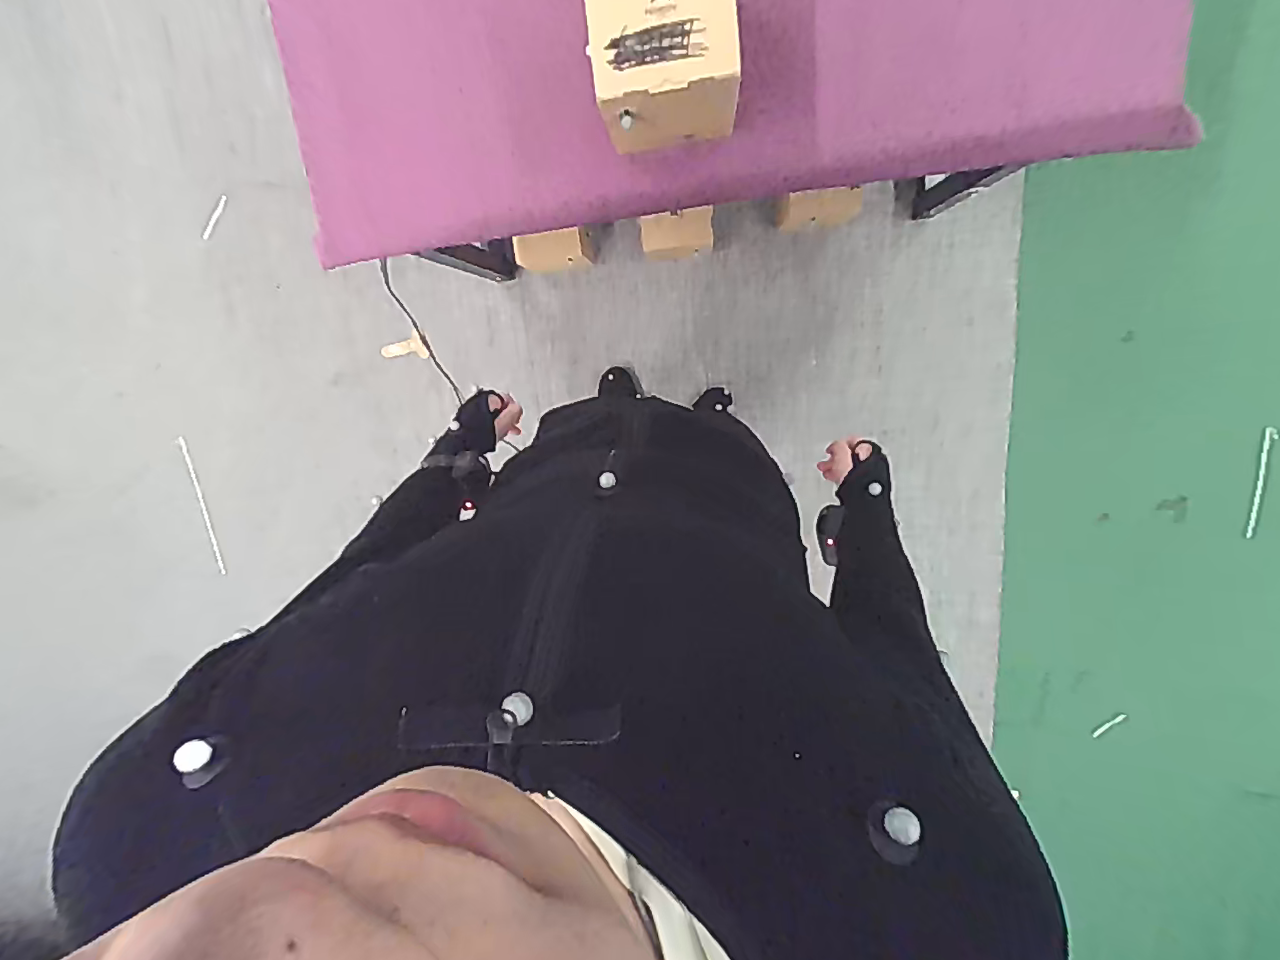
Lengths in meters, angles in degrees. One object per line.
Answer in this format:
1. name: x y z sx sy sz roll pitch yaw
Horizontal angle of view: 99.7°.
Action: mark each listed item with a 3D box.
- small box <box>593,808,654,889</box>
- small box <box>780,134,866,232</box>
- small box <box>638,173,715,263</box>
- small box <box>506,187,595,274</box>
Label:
1. small box: -0.051 1.257 1.852 0.179 0.176 0.168 -5 103 6
2. small box: 0.439 -0.719 1.325 0.179 0.176 0.168 -2 103 7
3. small box: 0.095 -0.660 1.377 0.179 0.176 0.168 -4 102 8
4. small box: -0.228 -0.644 1.415 0.179 0.176 0.168 -6 103 7
